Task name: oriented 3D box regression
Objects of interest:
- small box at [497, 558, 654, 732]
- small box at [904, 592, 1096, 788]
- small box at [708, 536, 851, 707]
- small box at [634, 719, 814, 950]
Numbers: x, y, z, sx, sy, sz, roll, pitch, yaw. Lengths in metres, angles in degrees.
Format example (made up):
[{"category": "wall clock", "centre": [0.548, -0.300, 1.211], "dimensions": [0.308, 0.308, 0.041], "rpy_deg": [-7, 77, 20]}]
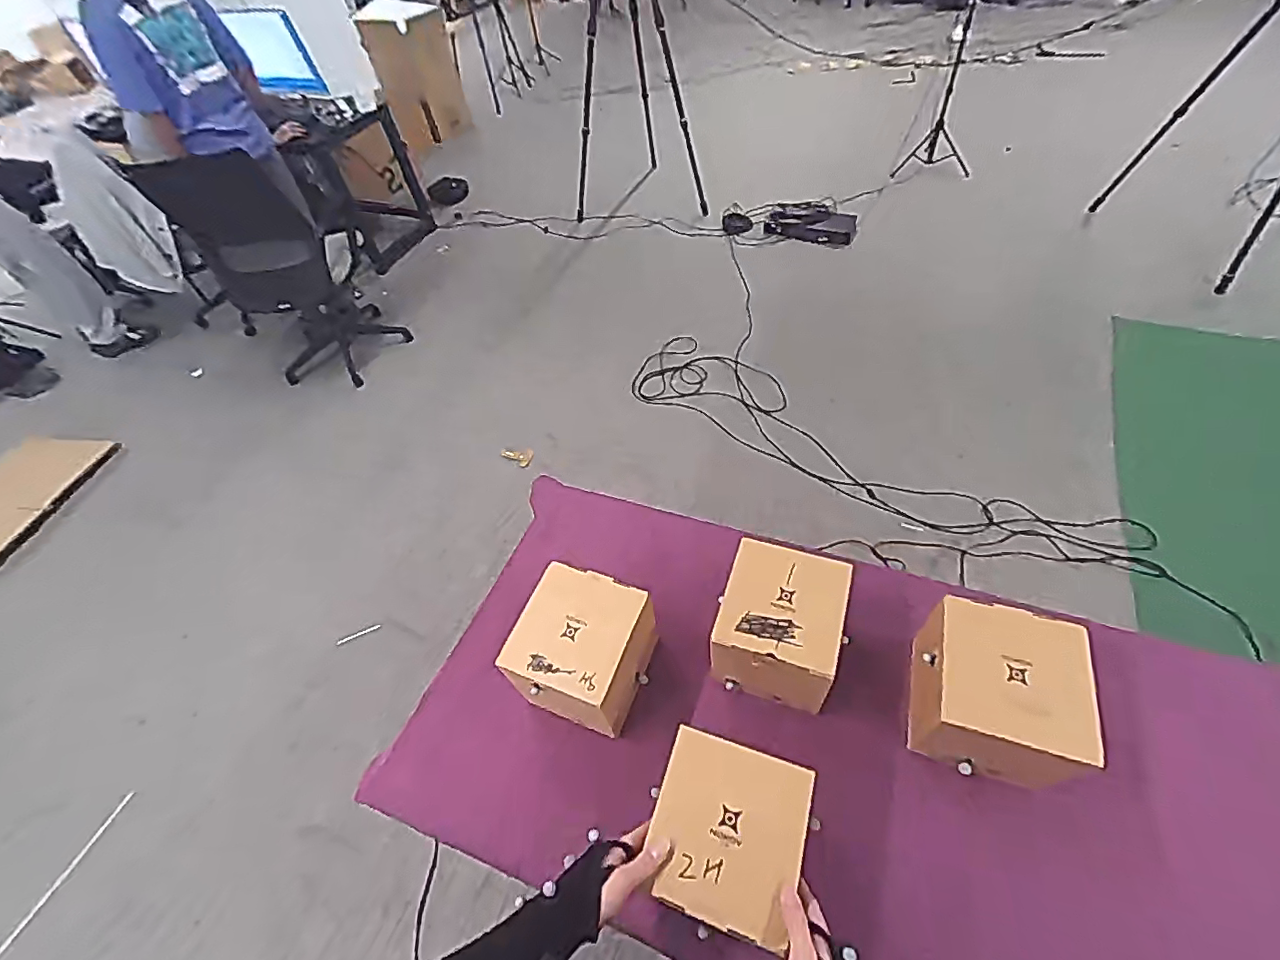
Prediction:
[{"category": "small box", "centre": [-0.085, 0.254, 0.830], "dimensions": [0.168, 0.176, 0.179], "rpy_deg": [14, 54, 20]}, {"category": "small box", "centre": [0.471, 0.286, 0.734], "dimensions": [0.168, 0.176, 0.179], "rpy_deg": [13, 55, 18]}, {"category": "small box", "centre": [0.209, 0.218, 0.822], "dimensions": [0.168, 0.176, 0.179], "rpy_deg": [14, 54, 18]}, {"category": "small box", "centre": [0.103, 0.430, 0.664], "dimensions": [0.168, 0.176, 0.179], "rpy_deg": [13, 54, 18]}]
